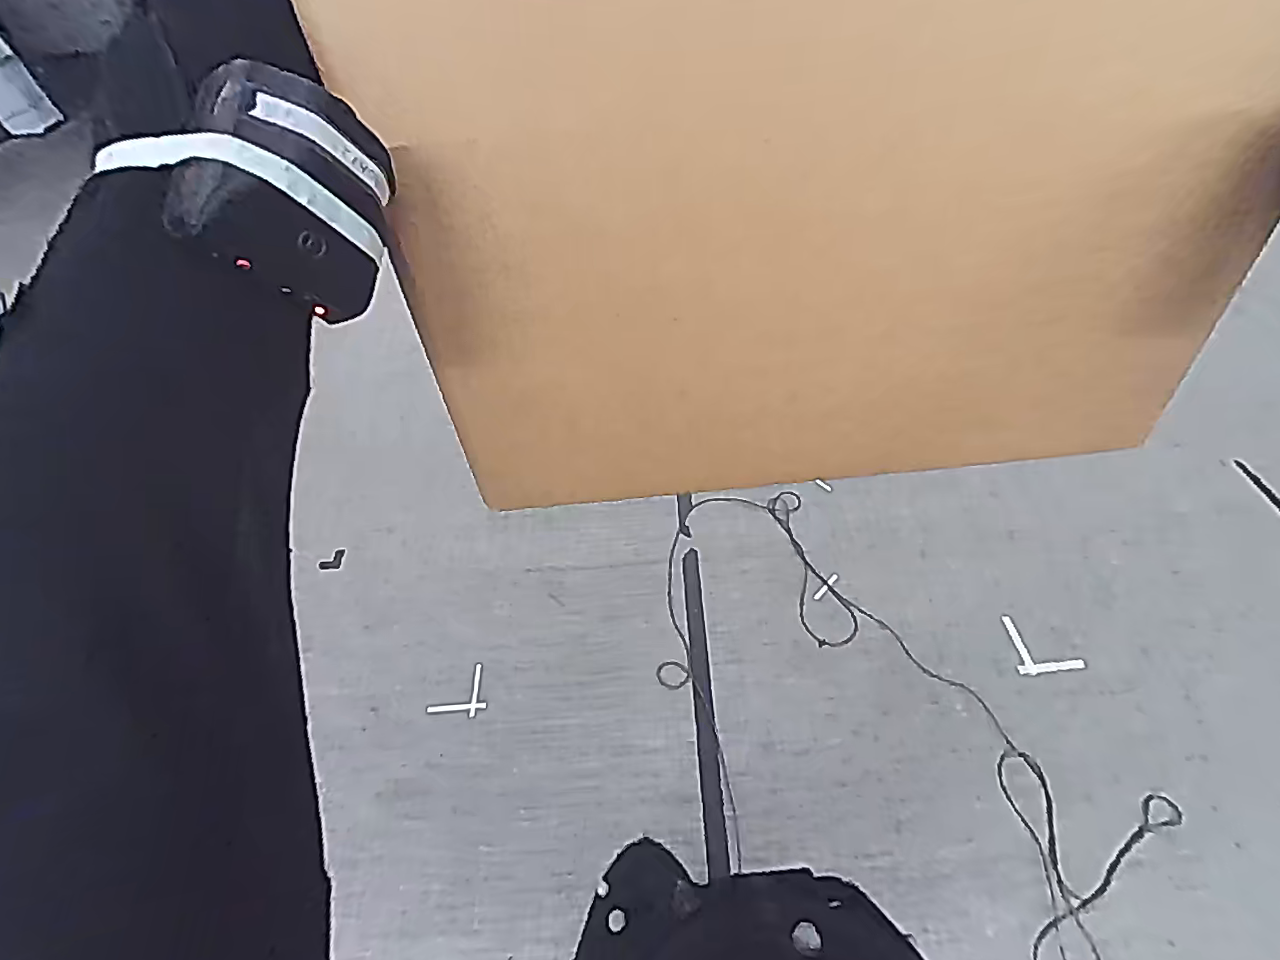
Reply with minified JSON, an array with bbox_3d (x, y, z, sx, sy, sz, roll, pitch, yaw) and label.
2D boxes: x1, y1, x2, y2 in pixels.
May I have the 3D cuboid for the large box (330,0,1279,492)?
[{"bbox_3d":[0.082,-0.218,0.360,0.408,0.320,0.320,-5,40,1],"label":"large box"}]
